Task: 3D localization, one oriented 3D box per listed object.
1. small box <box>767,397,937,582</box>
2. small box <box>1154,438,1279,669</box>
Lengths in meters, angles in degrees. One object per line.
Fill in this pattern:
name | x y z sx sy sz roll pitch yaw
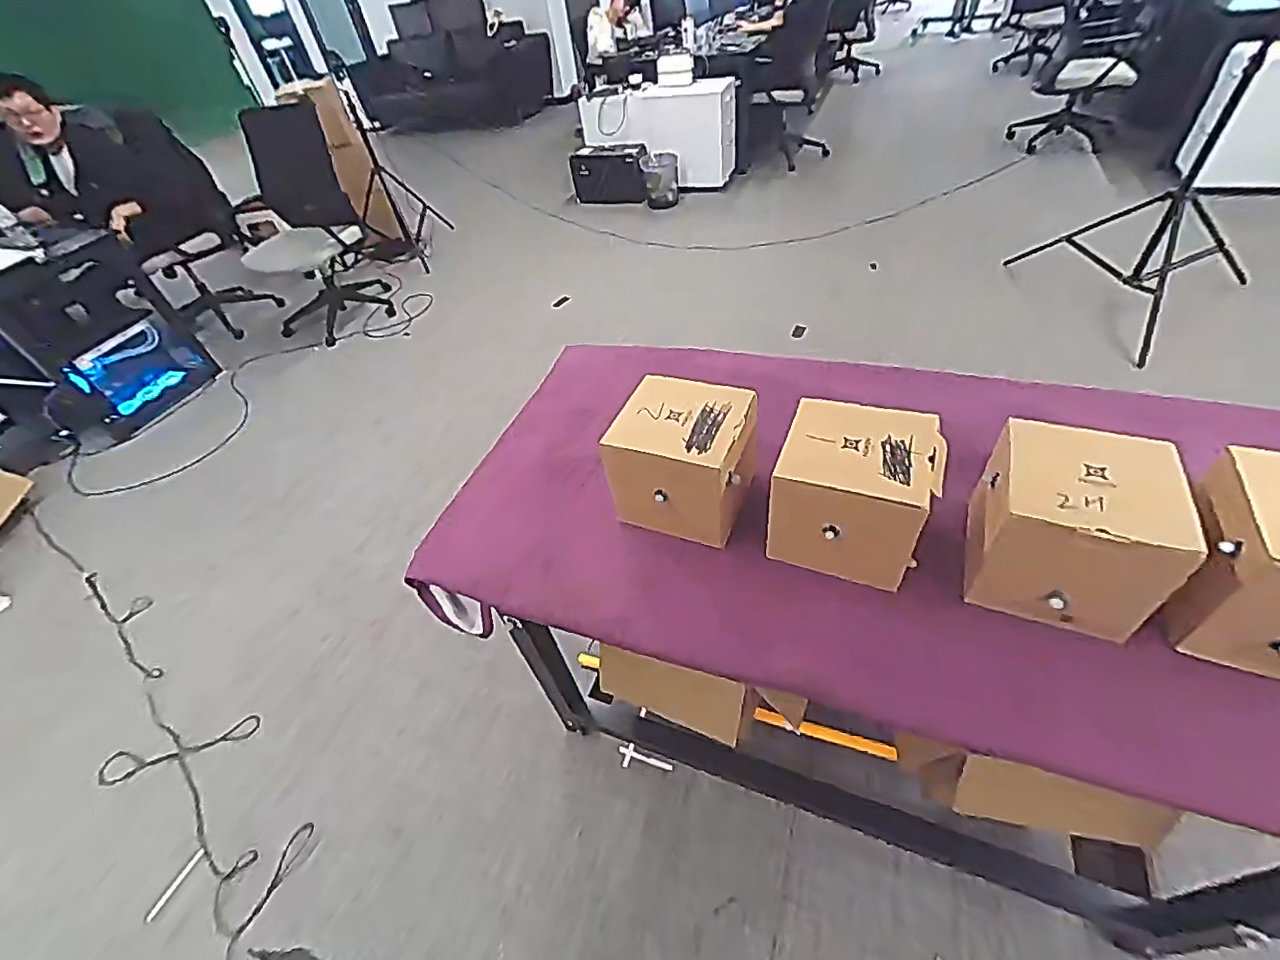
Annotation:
small box | 0.278 0.014 0.728 0.179 0.176 0.168 12 49 23
small box | 0.701 0.085 0.577 0.168 0.176 0.179 13 48 23
